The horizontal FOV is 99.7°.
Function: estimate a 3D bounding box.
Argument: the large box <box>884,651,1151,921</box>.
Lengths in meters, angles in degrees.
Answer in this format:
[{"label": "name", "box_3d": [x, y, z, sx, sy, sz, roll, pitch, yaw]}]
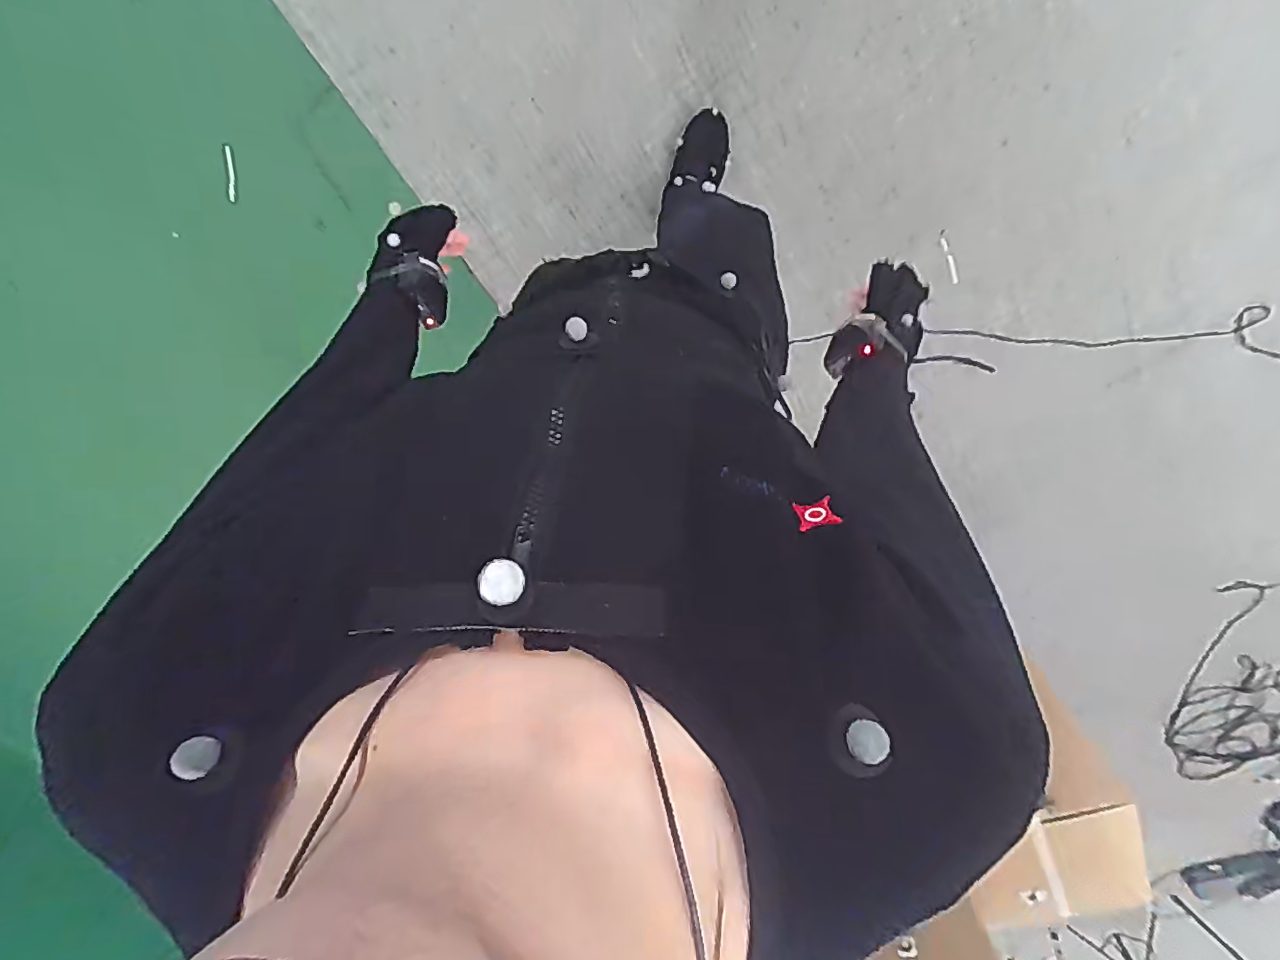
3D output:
[{"label": "large box", "box_3d": [0.767, 0.637, 1.131, 0.320, 0.320, 0.408, -24, 118, 17]}]
